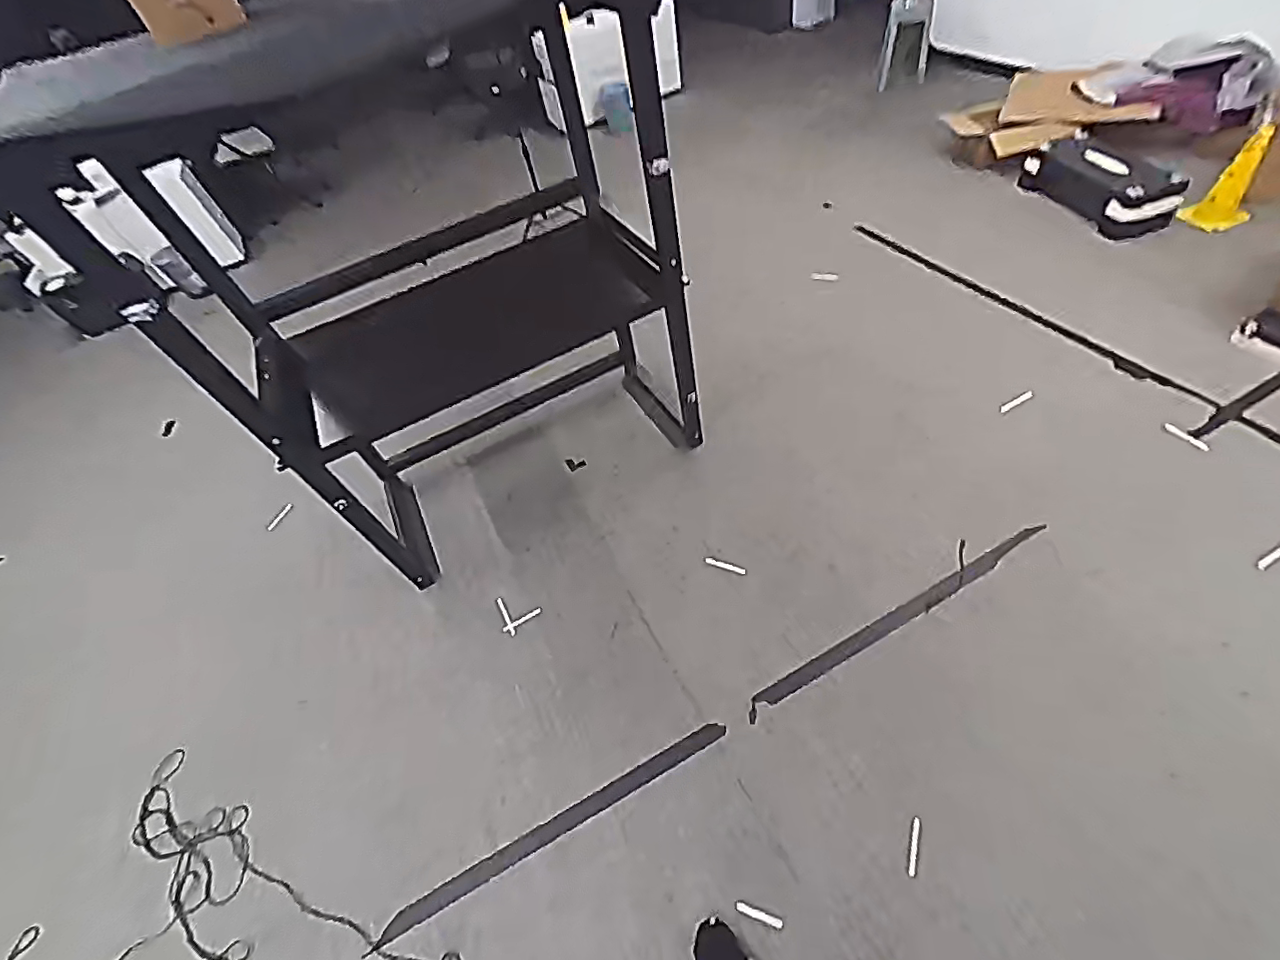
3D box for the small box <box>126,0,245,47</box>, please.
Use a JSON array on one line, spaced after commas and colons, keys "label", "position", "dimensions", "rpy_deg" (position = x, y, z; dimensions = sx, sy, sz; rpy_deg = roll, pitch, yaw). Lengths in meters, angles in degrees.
[{"label": "small box", "position": [-0.886, -0.947, 1.016], "dimensions": [0.168, 0.176, 0.179], "rpy_deg": [-31, 54, -12]}]
